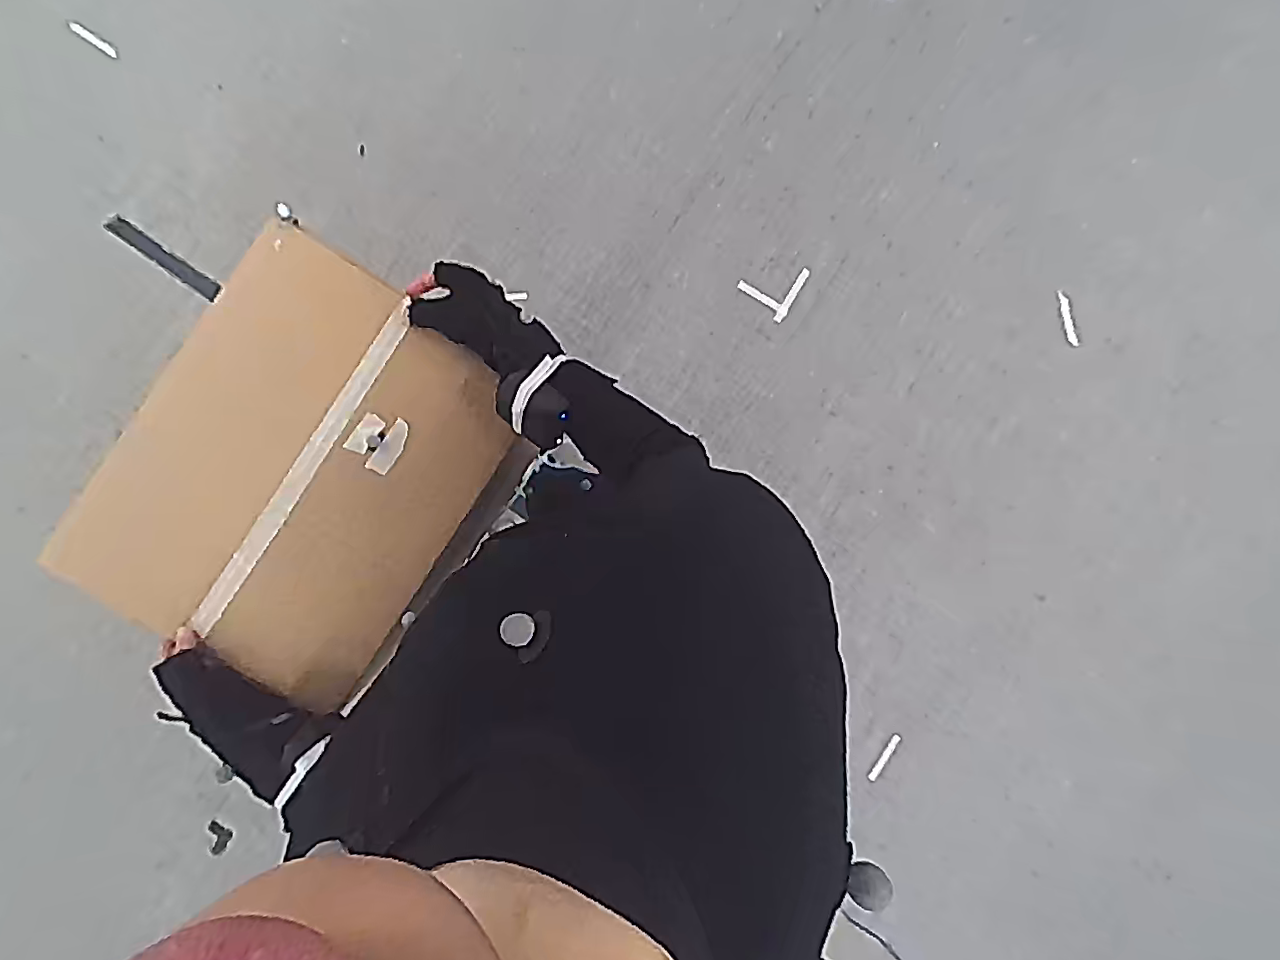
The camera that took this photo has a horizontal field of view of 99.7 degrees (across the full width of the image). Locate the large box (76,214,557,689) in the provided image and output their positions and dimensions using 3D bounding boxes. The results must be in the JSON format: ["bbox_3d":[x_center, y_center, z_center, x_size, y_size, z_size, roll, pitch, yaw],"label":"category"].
[{"bbox_3d":[-0.348,-0.027,0.705,0.320,0.320,0.408,33,88,-6],"label":"large box"}]
